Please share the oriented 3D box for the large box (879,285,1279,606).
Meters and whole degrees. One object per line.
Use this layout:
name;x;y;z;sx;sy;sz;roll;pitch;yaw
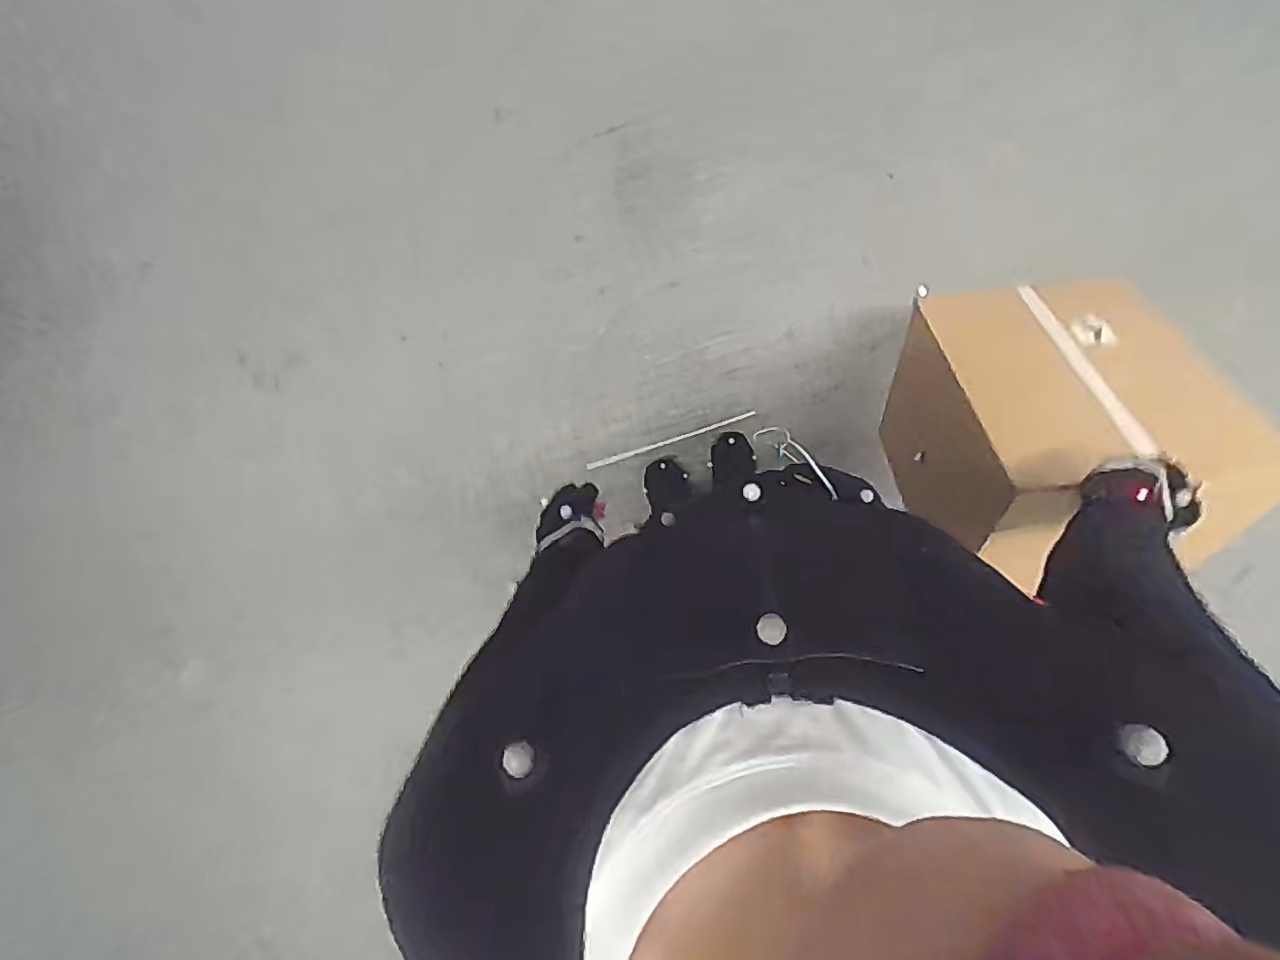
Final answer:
large box;0.617;-0.053;0.866;0.320;0.320;0.408;-4;49;6
